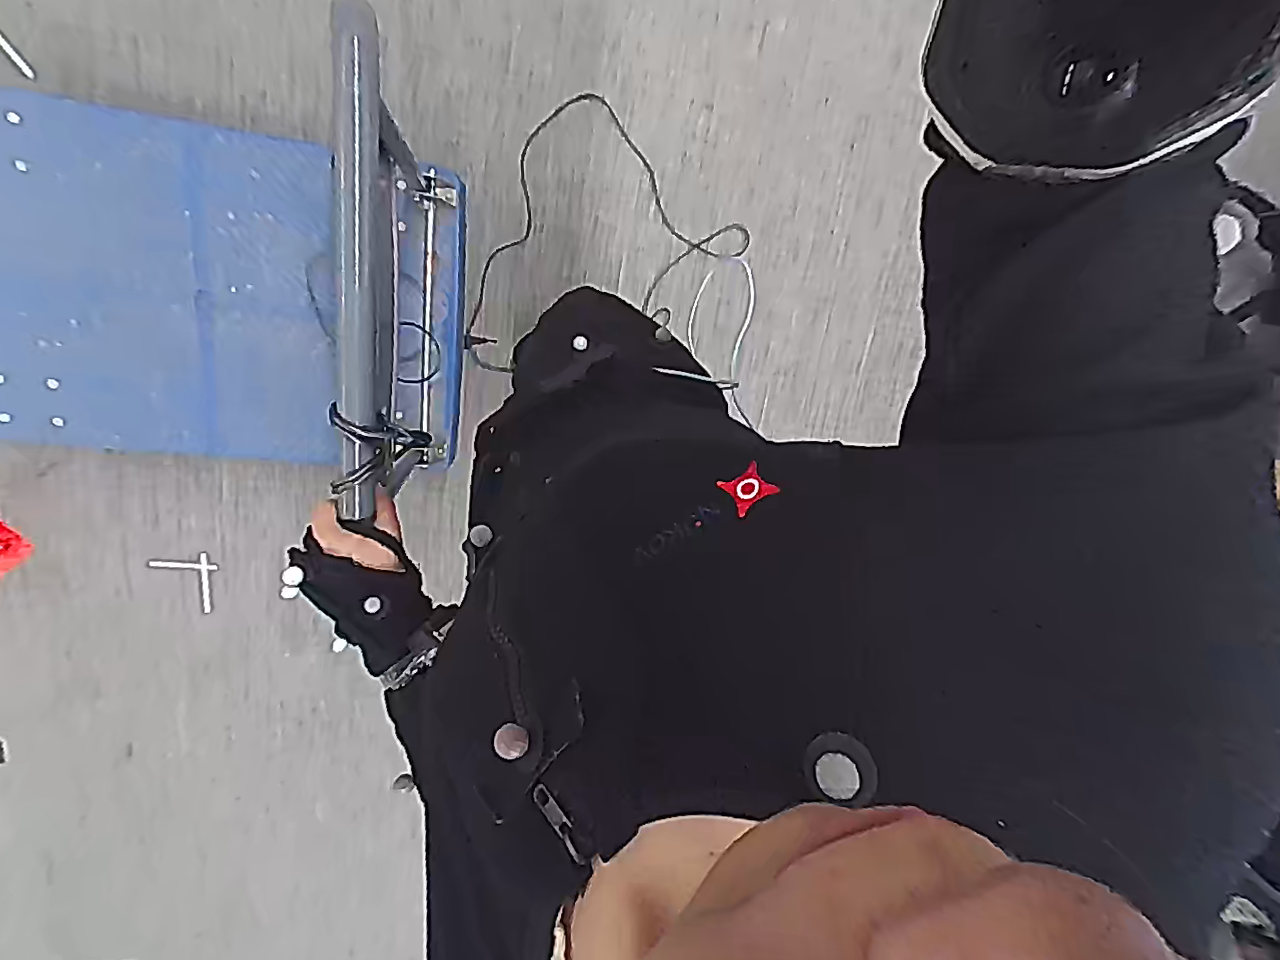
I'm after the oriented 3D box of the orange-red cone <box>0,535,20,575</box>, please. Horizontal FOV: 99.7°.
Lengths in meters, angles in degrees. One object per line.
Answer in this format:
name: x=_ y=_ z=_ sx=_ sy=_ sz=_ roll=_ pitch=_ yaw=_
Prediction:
orange-red cone: x=-1.422 y=0.188 z=0.969 sx=0.198 sy=0.360 sz=0.199 roll=-37 pitch=107 yaw=0
